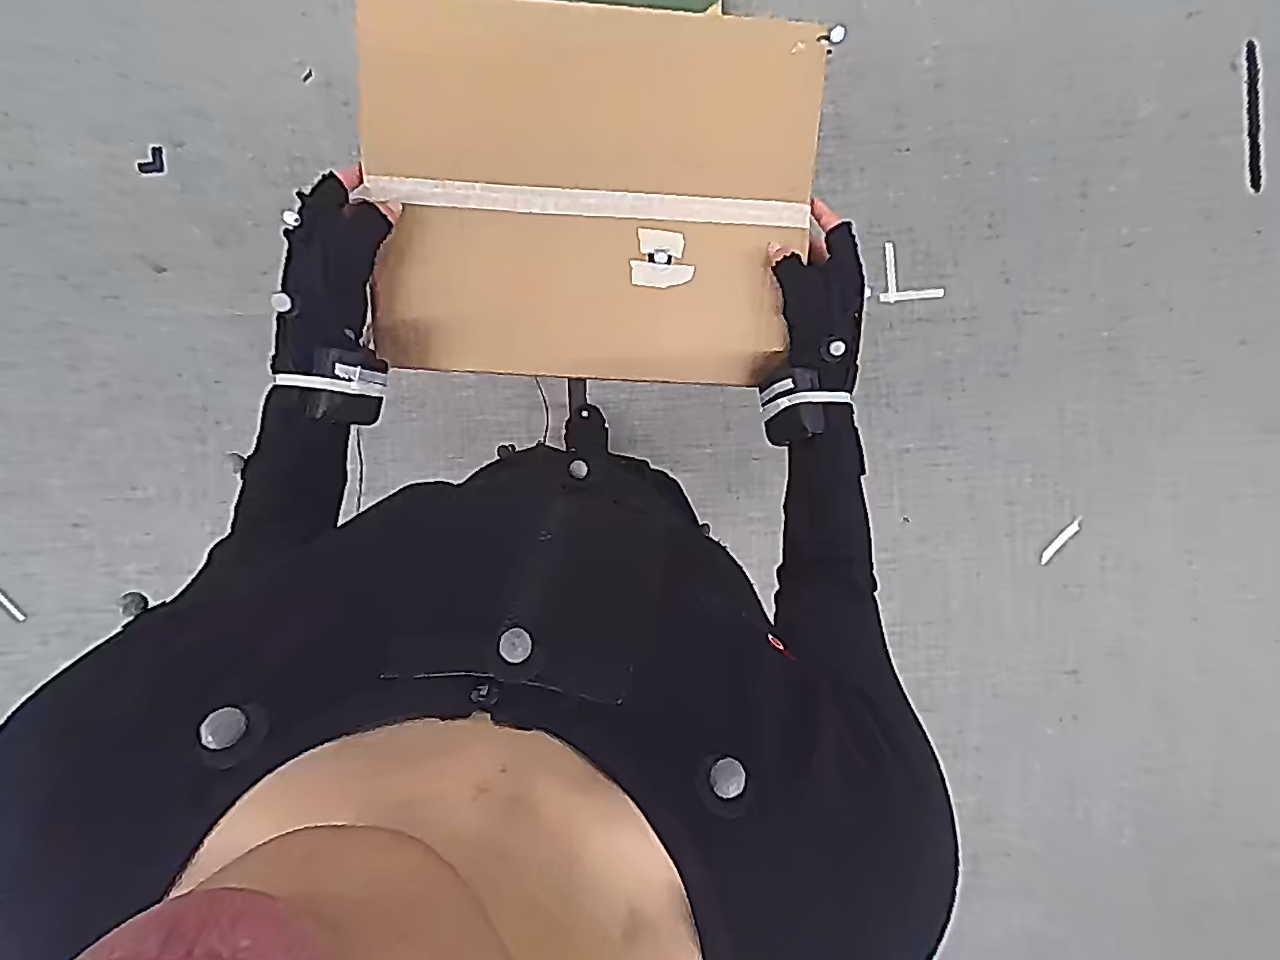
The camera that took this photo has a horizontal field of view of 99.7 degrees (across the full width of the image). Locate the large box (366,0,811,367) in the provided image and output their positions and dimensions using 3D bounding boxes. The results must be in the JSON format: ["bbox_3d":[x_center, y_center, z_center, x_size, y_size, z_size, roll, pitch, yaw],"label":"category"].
[{"bbox_3d":[-0.054,-0.299,0.655,0.408,0.320,0.320,1,103,-3],"label":"large box"}]
